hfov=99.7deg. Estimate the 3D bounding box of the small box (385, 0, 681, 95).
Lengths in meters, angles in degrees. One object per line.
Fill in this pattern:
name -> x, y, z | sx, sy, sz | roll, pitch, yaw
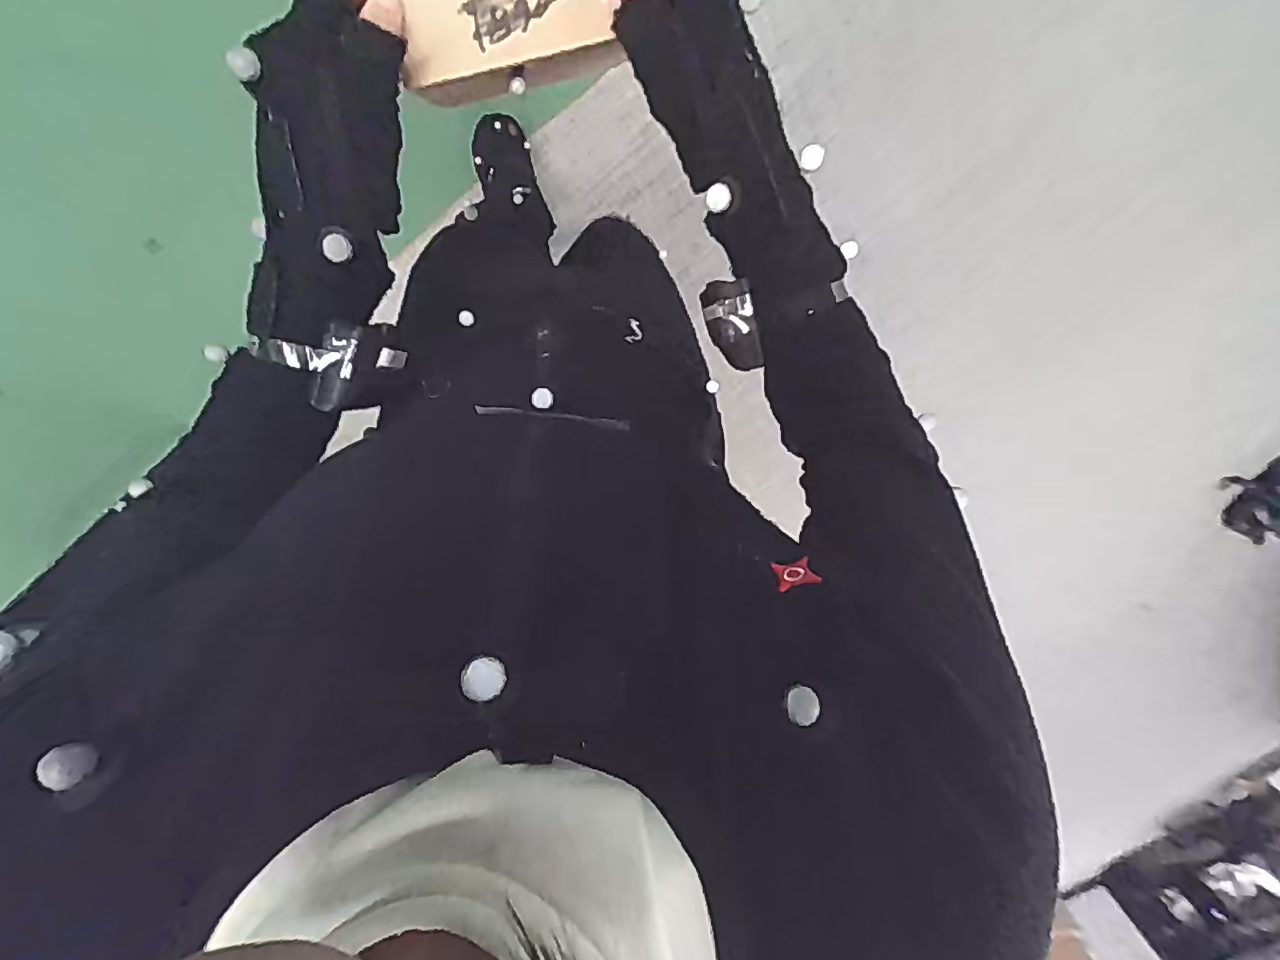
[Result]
small box -> -0.087, -0.365, 0.331 | 0.168, 0.176, 0.179 | -17, 122, -3
